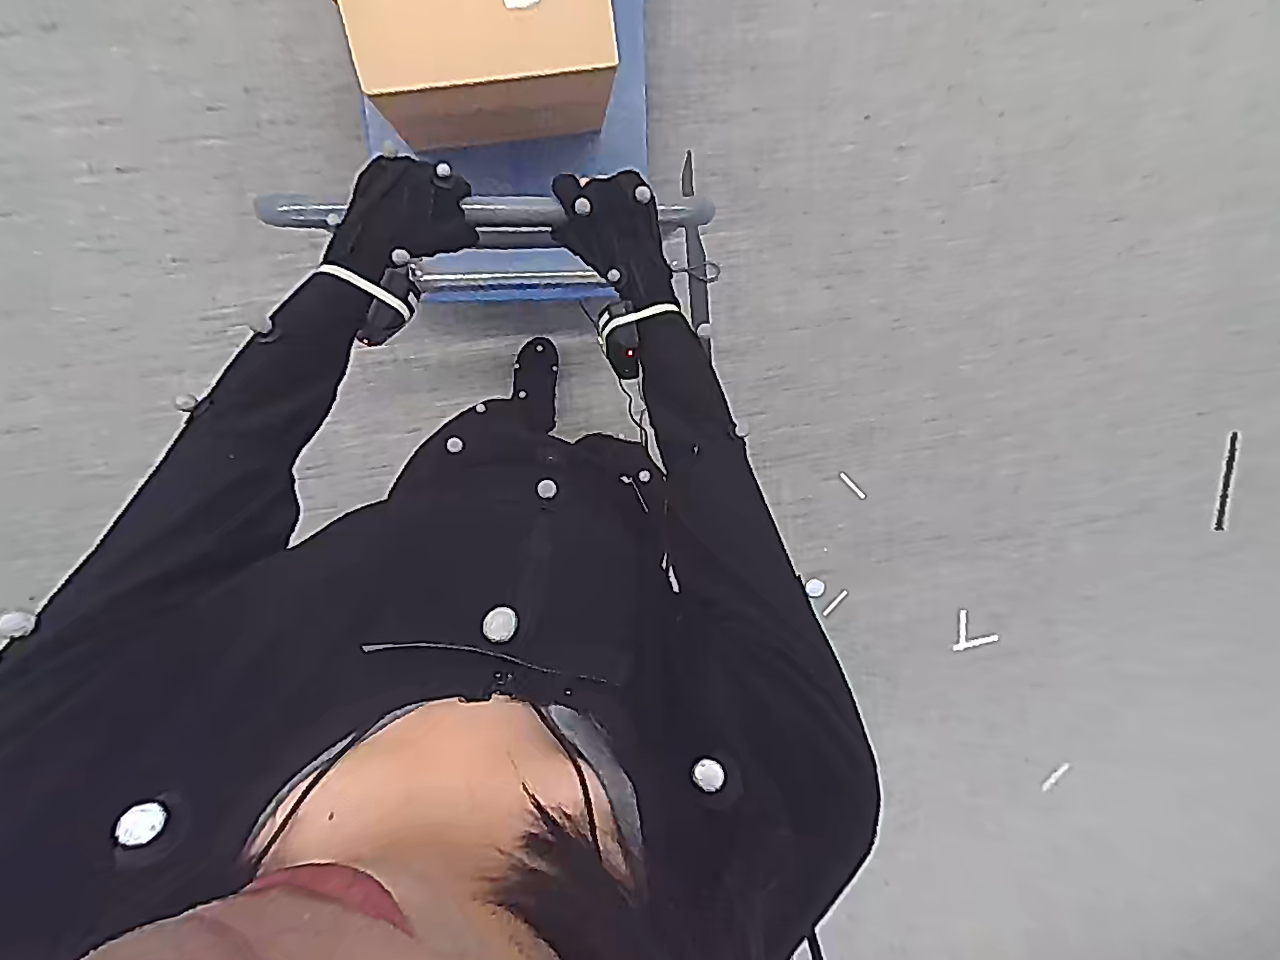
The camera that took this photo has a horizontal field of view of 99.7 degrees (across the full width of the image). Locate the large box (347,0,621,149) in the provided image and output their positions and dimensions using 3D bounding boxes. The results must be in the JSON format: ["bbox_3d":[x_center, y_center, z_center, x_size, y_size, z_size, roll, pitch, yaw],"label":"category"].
[{"bbox_3d":[-0.272,-0.822,0.946,0.408,0.320,0.320,-12,108,-7],"label":"large box"}]
